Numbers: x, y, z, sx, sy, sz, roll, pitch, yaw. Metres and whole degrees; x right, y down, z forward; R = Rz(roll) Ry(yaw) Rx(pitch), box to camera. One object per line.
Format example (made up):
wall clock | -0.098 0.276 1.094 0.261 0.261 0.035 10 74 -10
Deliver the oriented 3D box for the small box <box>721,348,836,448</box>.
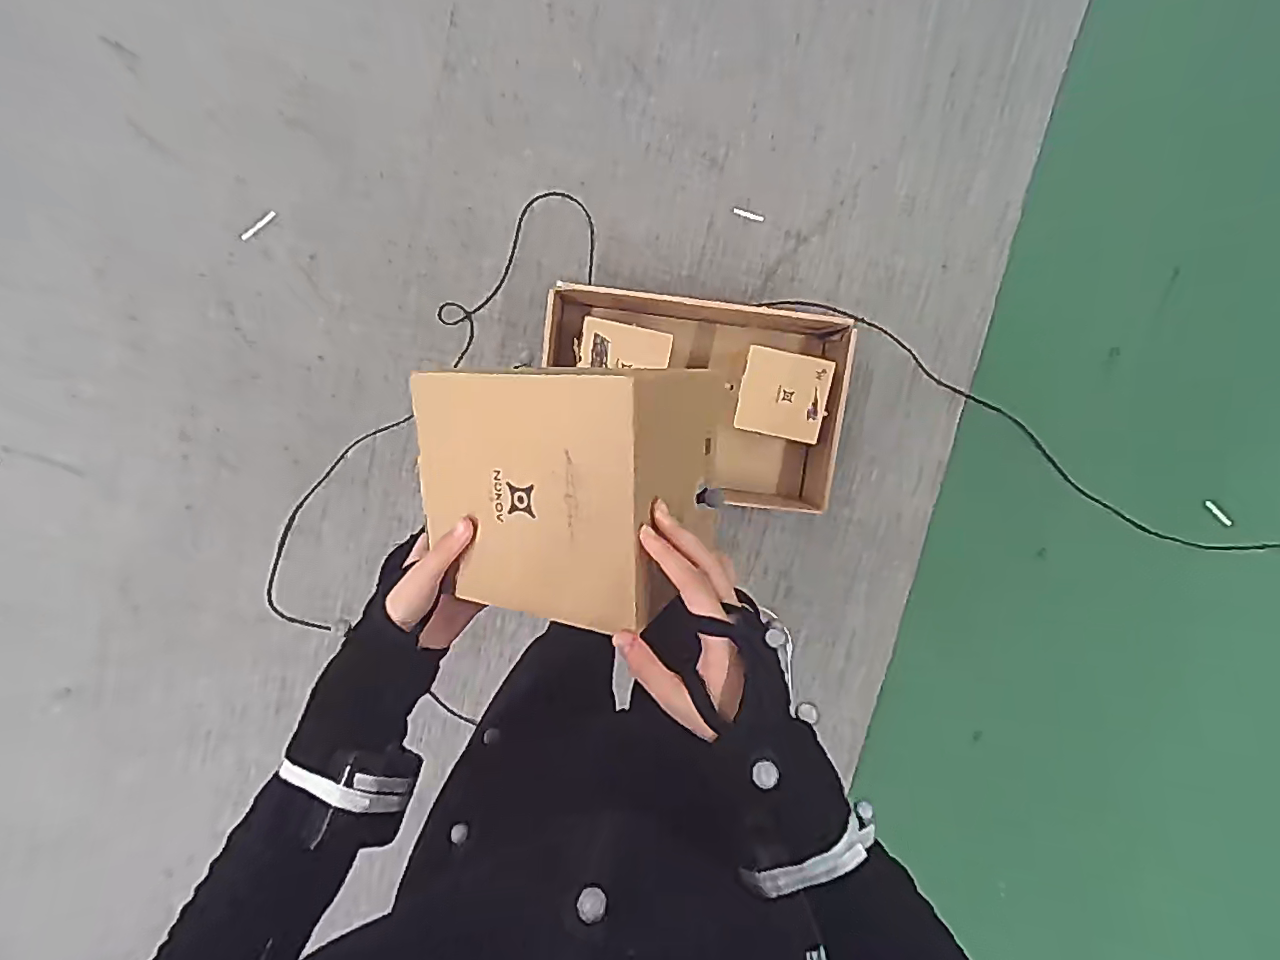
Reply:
small box | 0.279 -0.168 1.135 0.179 0.176 0.168 13 97 -3
